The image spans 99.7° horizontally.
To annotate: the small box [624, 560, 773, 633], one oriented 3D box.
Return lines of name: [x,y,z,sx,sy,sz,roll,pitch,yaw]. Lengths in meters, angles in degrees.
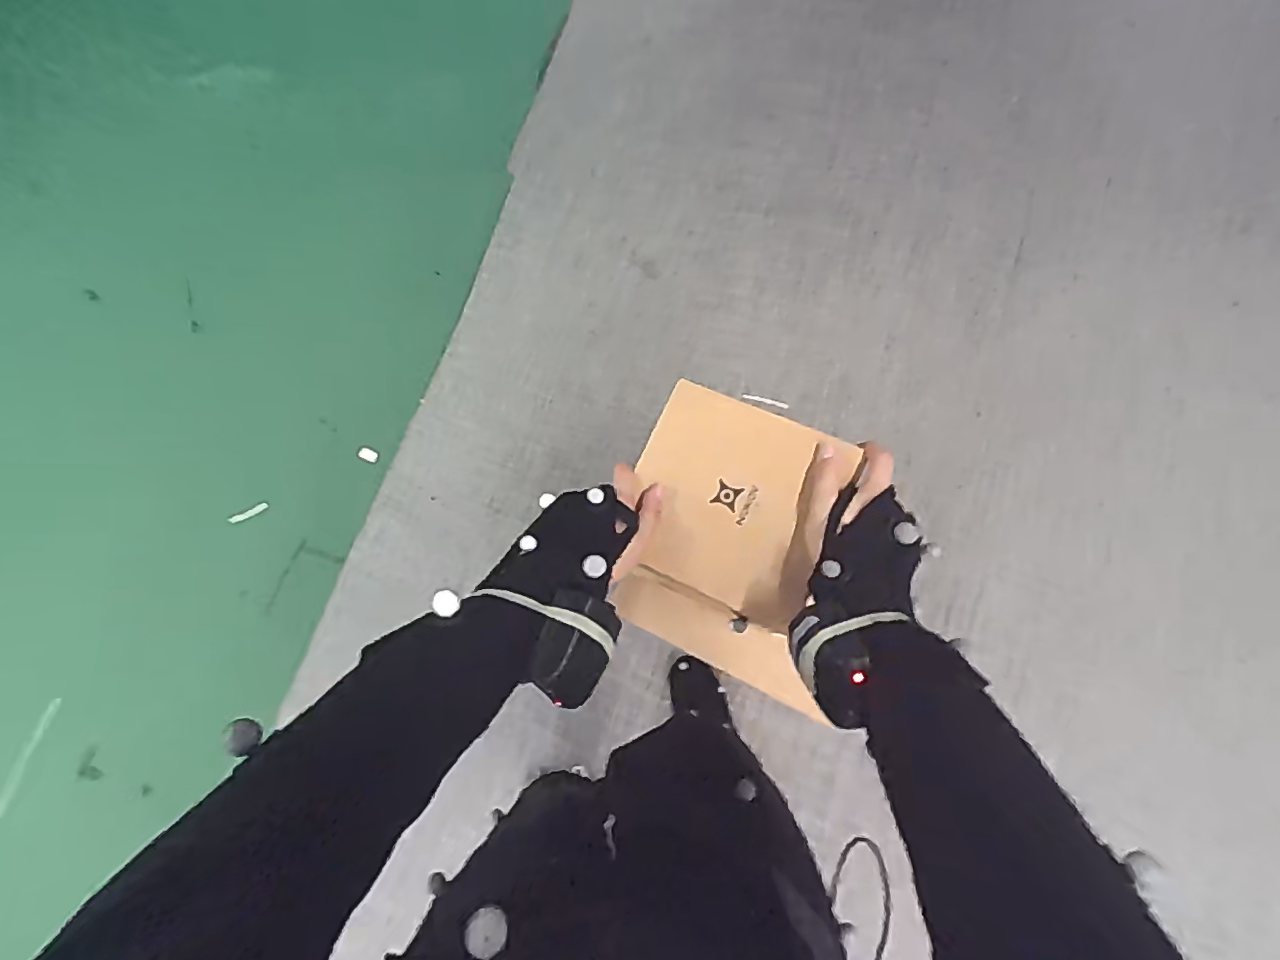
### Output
small box: [0.104,0.079,0.682,0.179,0.176,0.168,20,80,15]

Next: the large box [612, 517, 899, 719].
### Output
large box: [0.210,0.200,1.055,0.408,0.320,0.320,23,83,14]

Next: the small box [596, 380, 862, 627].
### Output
small box: [0.084,0.033,0.528,0.179,0.176,0.168,23,80,14]
